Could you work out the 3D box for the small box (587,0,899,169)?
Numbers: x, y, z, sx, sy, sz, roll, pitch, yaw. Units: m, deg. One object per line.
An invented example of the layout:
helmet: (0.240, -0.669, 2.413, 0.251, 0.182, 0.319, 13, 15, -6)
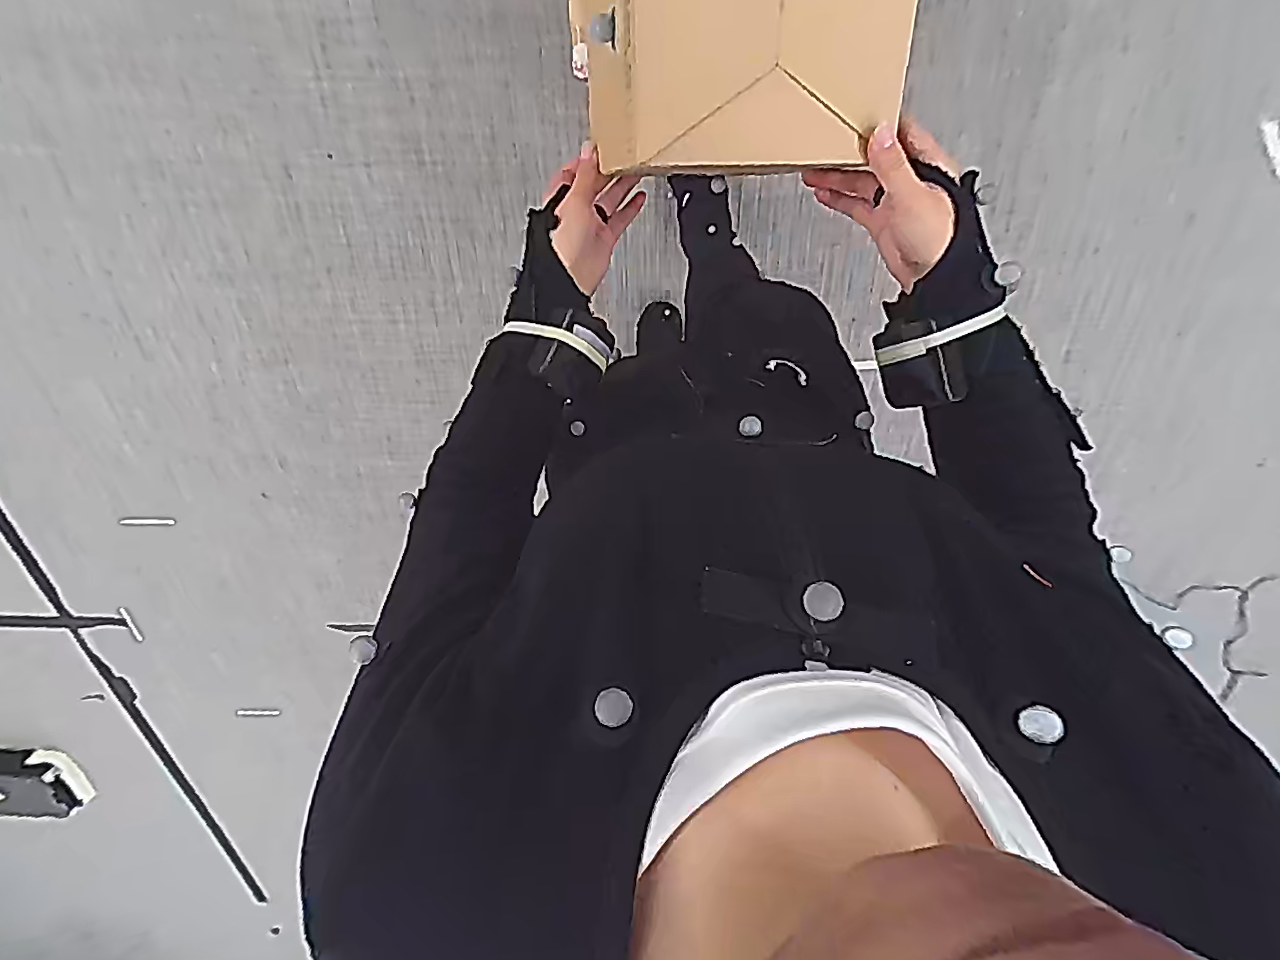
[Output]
small box: (0.062, -0.316, 0.378, 0.179, 0.176, 0.168, -8, 118, -12)
